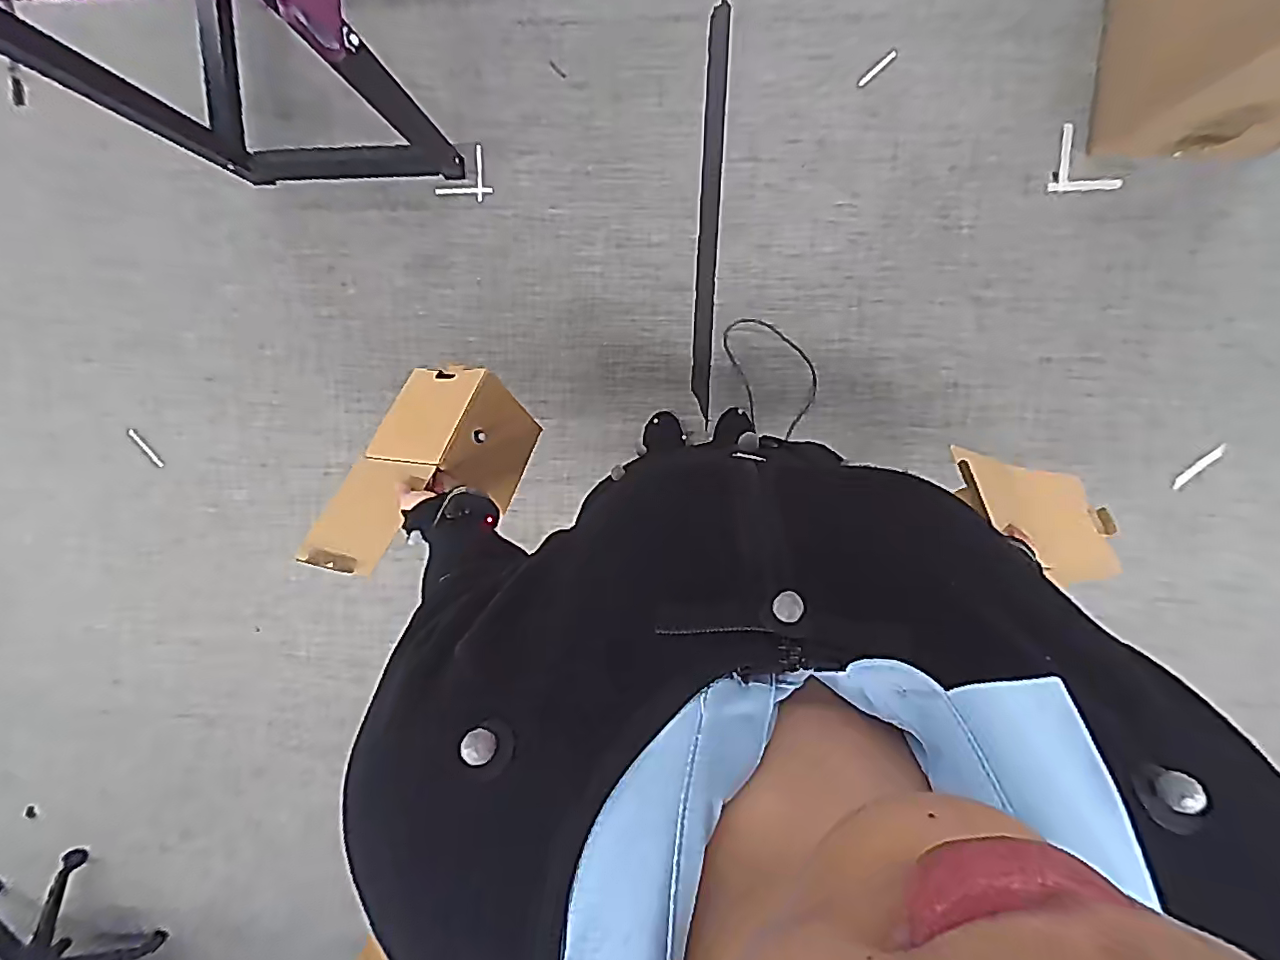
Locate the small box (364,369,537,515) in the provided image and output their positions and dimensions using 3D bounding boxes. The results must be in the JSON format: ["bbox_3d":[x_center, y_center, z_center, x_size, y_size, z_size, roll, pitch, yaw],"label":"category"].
[{"bbox_3d":[-0.295,-0.059,0.878,0.168,0.176,0.179,6,63,27],"label":"small box"}]
